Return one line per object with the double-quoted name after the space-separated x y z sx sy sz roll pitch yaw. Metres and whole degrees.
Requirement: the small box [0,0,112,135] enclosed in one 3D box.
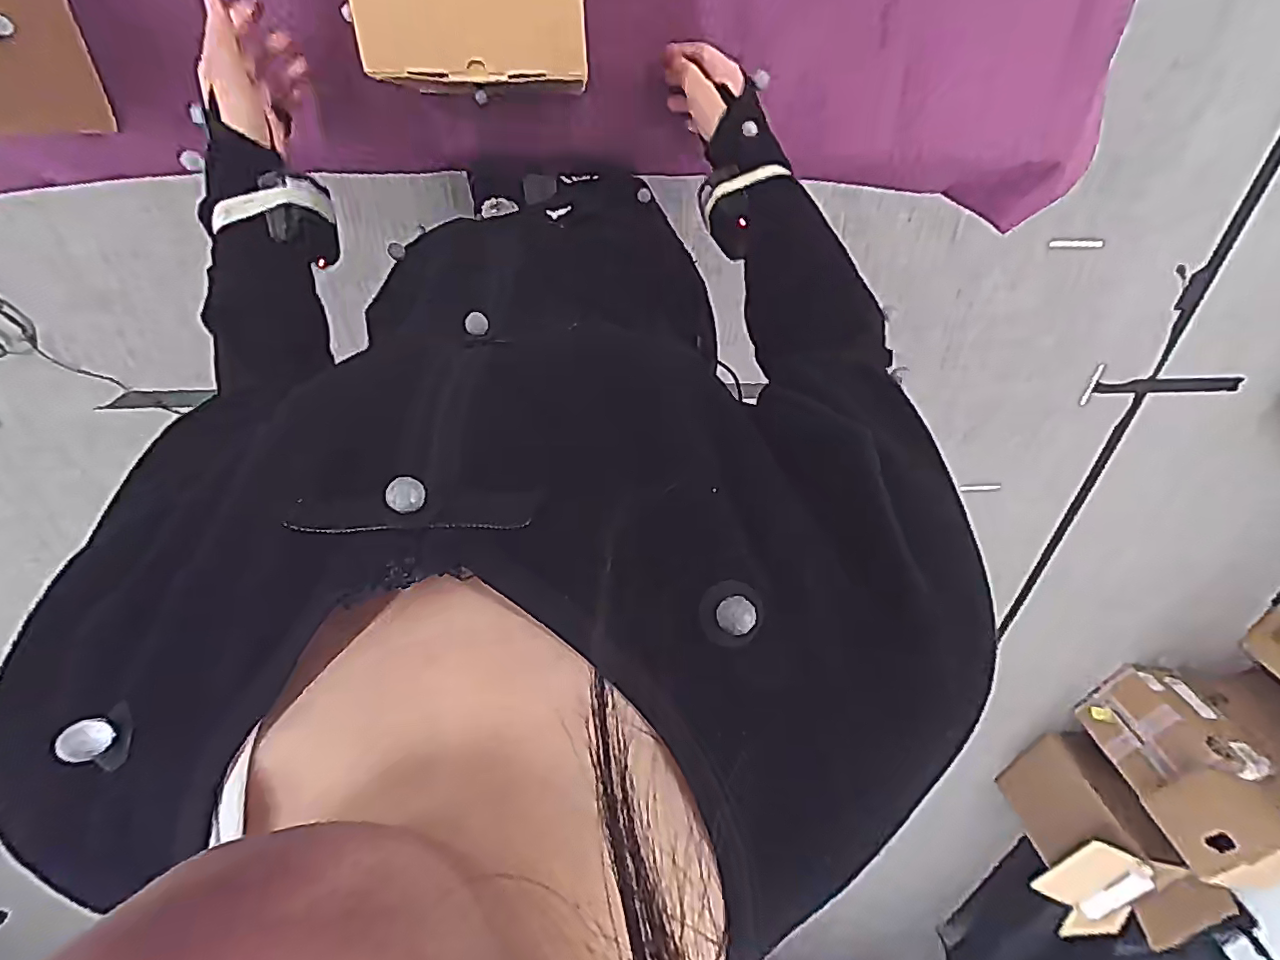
-0.575 -0.368 0.409 0.168 0.176 0.179 -2 125 -7 "small box"
